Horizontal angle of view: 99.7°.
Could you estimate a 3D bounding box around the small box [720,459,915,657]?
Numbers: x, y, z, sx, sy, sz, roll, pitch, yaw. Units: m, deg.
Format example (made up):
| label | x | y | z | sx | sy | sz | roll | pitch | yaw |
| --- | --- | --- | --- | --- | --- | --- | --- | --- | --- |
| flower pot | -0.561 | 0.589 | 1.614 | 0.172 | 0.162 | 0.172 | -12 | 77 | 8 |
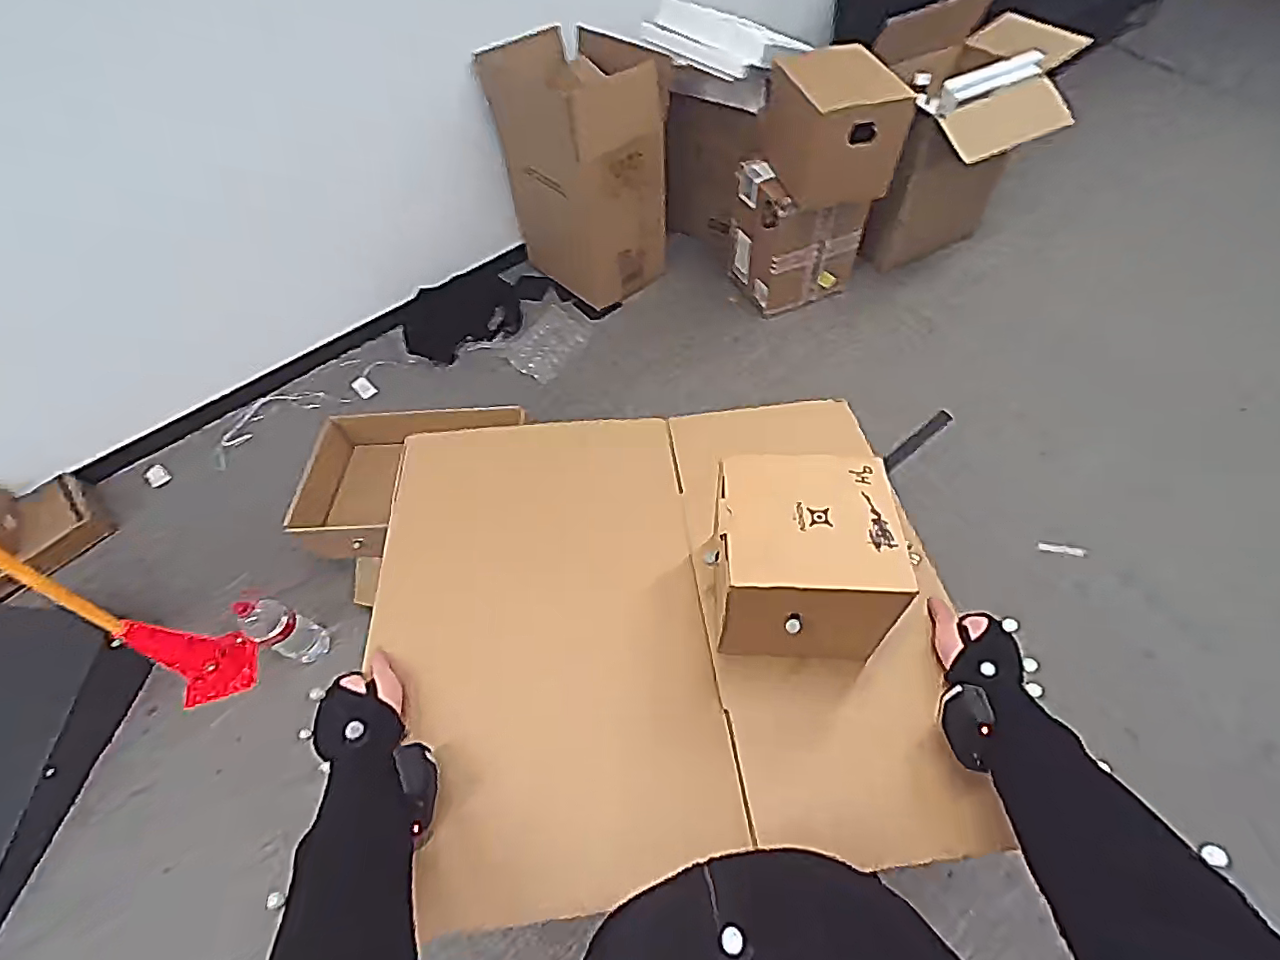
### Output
| label | x | y | z | sx | sy | sz | roll | pitch | yaw |
| --- | --- | --- | --- | --- | --- | --- | --- | --- | --- |
| small box | 0.181 | 0.093 | 0.618 | 0.179 | 0.176 | 0.168 | 1 | 52 | 5 |
